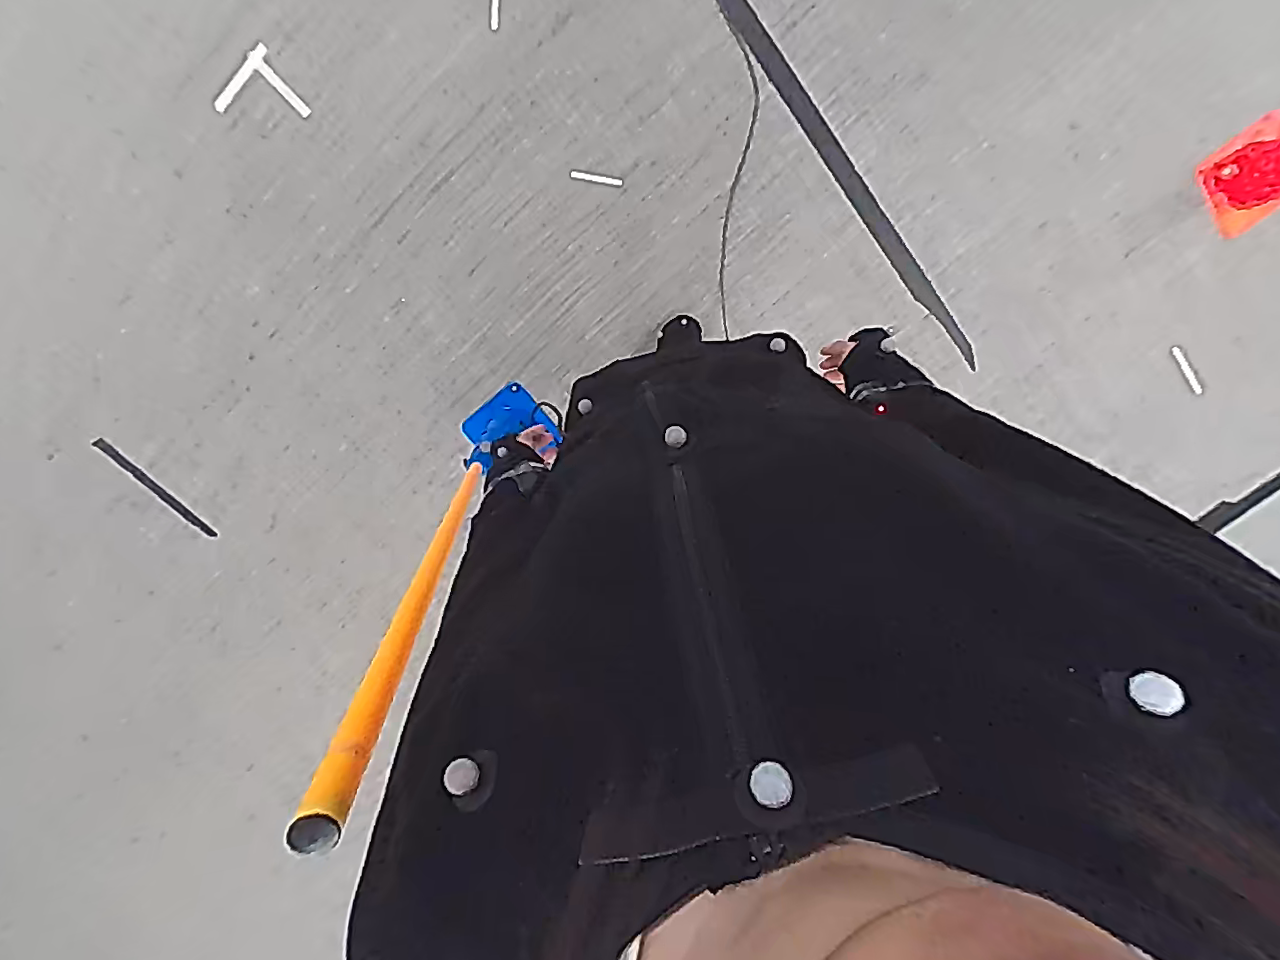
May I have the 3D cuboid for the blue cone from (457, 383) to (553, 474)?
[{"bbox_3d":[-0.338,-0.083,1.239,0.193,0.380,0.192,-36,103,9],"label":"blue cone"}]

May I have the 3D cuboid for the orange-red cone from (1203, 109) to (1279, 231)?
[{"bbox_3d":[1.410,-0.655,1.070,0.198,0.360,0.199,-36,104,10],"label":"orange-red cone"}]
